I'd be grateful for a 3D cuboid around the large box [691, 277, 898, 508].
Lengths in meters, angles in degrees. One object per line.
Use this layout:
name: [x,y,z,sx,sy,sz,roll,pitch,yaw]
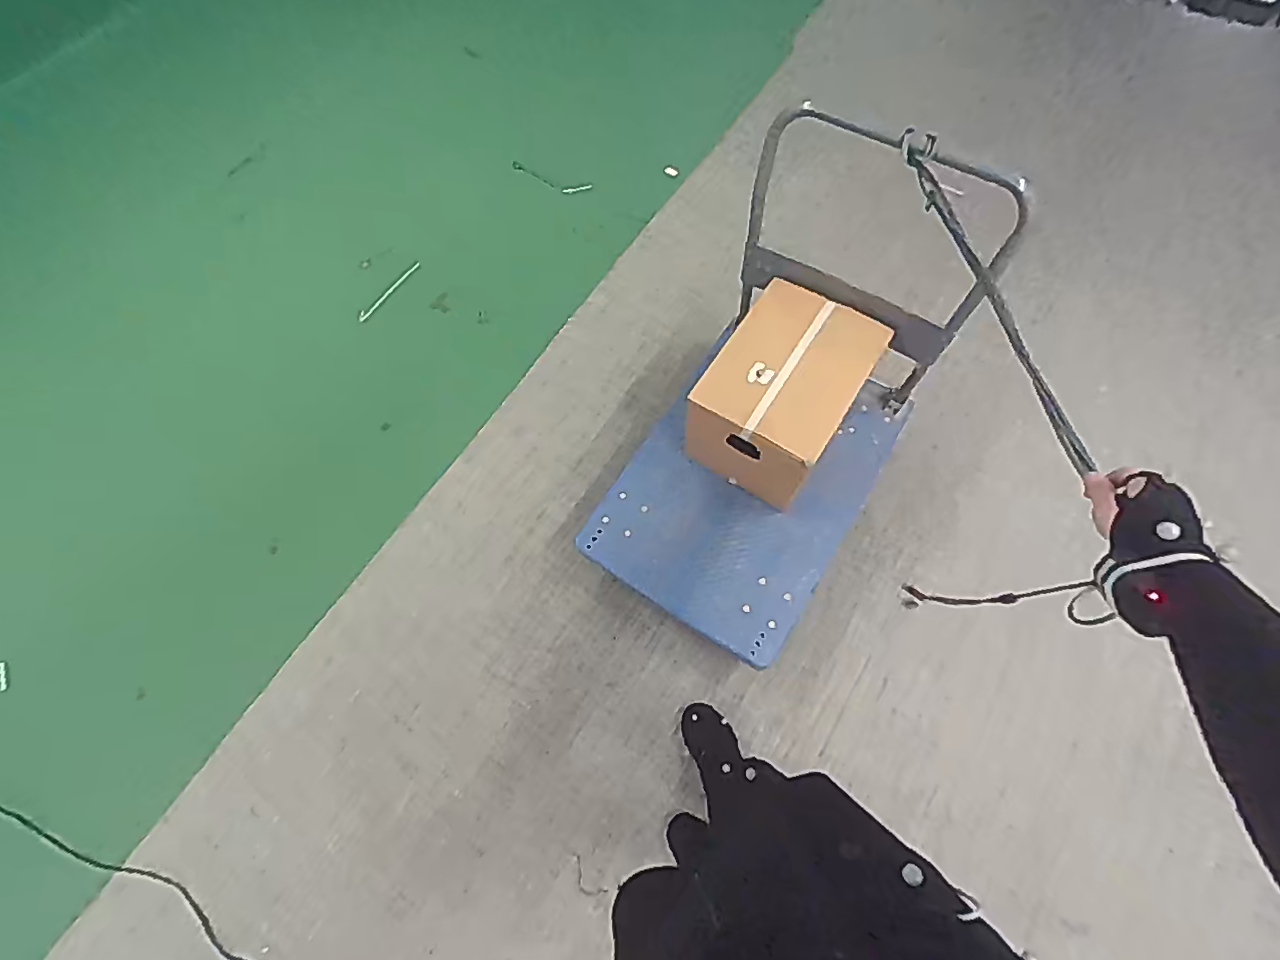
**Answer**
large box: [0.360,-0.204,1.340,0.320,0.320,0.408,31,75,15]
